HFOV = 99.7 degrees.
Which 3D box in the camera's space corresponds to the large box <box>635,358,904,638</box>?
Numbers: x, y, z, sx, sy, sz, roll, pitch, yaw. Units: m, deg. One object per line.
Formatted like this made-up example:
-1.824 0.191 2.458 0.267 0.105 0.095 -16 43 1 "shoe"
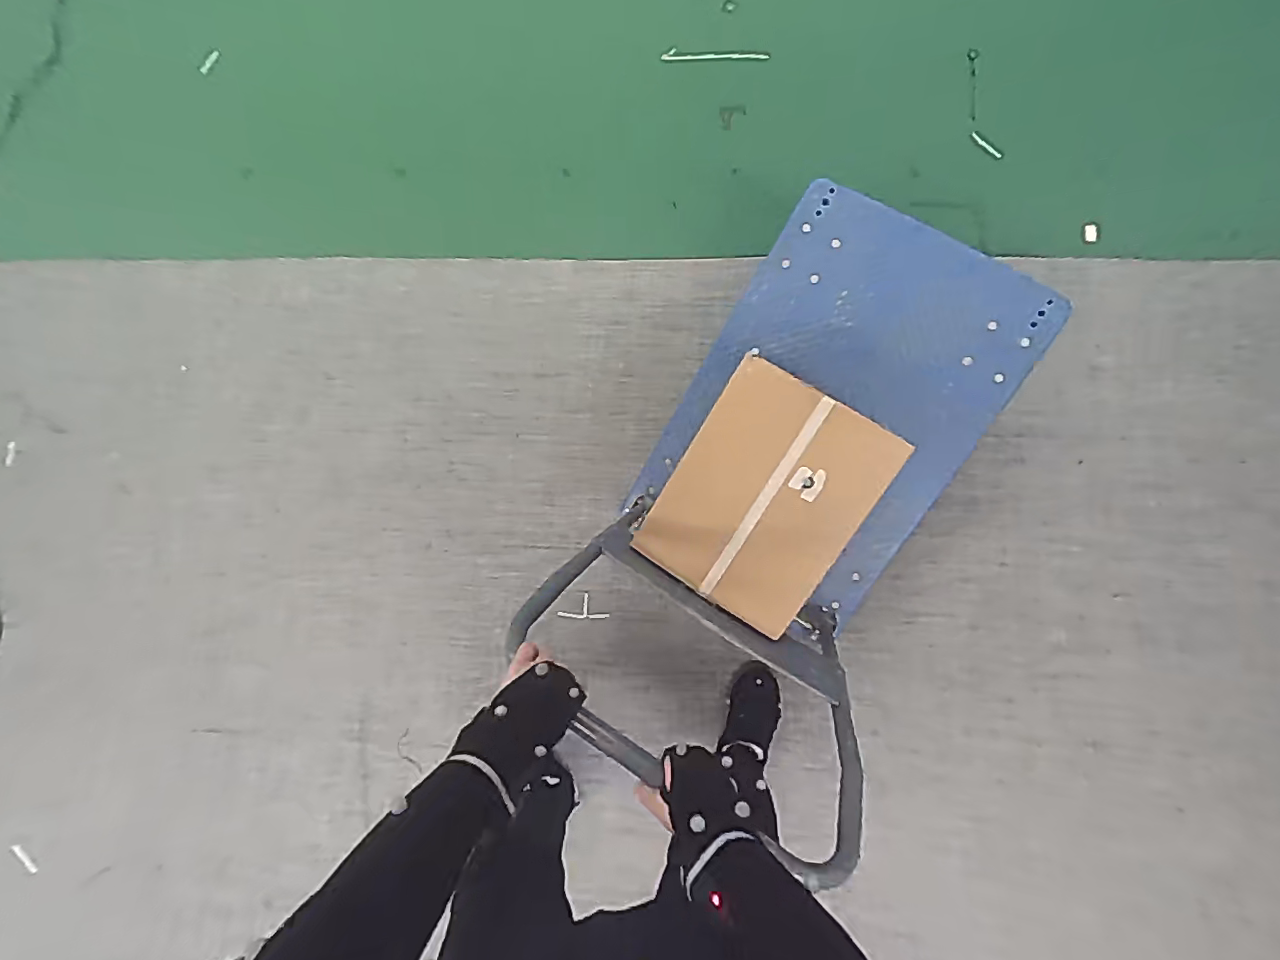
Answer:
0.244 0.025 1.085 0.320 0.320 0.408 33 101 8 "large box"
